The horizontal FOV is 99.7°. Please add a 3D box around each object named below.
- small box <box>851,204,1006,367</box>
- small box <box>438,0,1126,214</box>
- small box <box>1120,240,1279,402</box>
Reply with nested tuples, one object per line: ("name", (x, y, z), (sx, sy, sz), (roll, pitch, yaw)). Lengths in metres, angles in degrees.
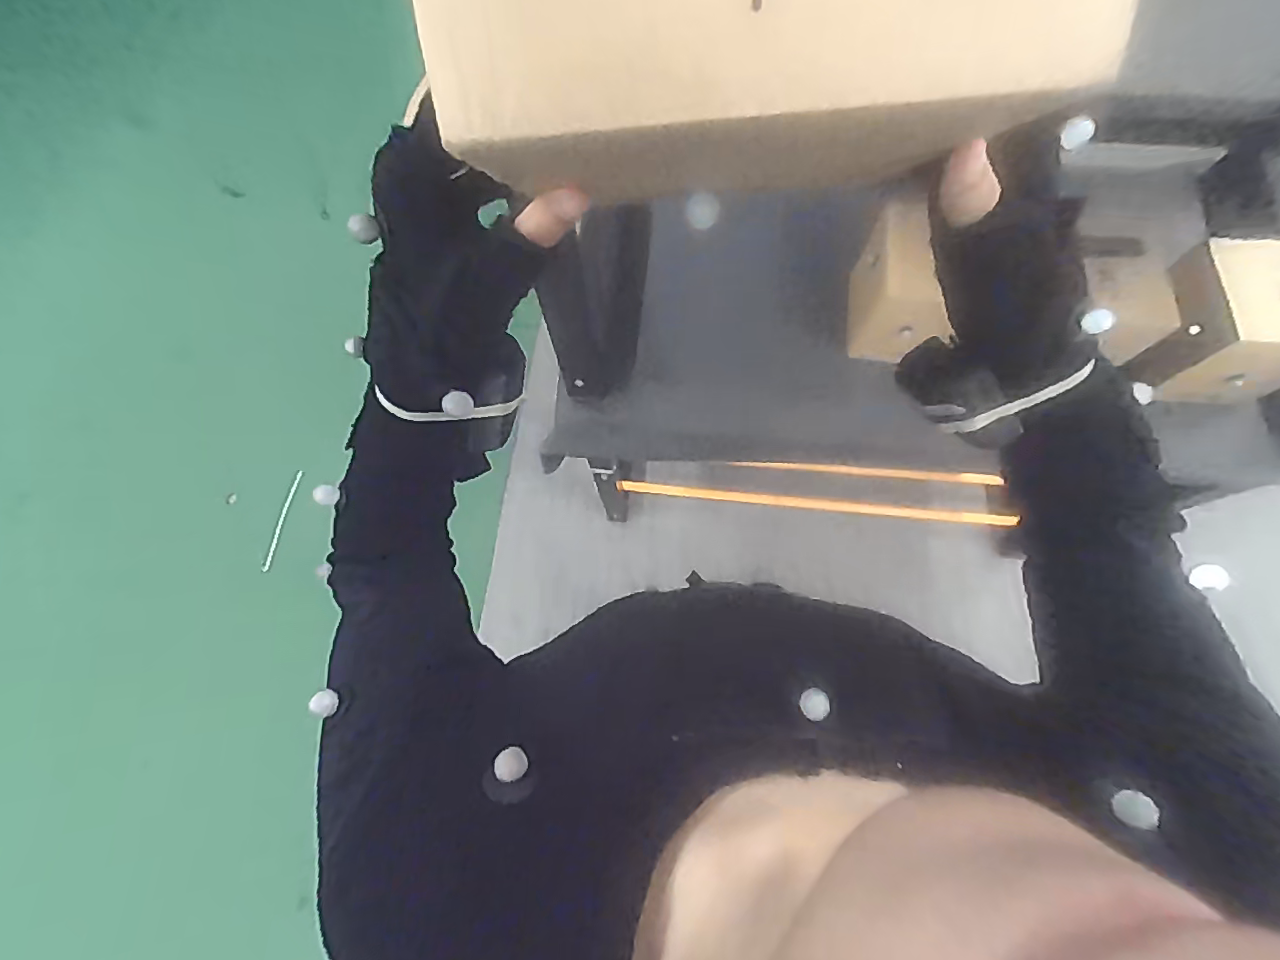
("small box", (0.448, -0.300, 0.861), (0.168, 0.176, 0.179), (8, 71, 5))
("small box", (0.031, -0.198, 0.182), (0.168, 0.176, 0.179), (-3, 113, 3))
("small box", (0.889, -0.232, 0.817), (0.168, 0.176, 0.179), (3, 70, 3))
